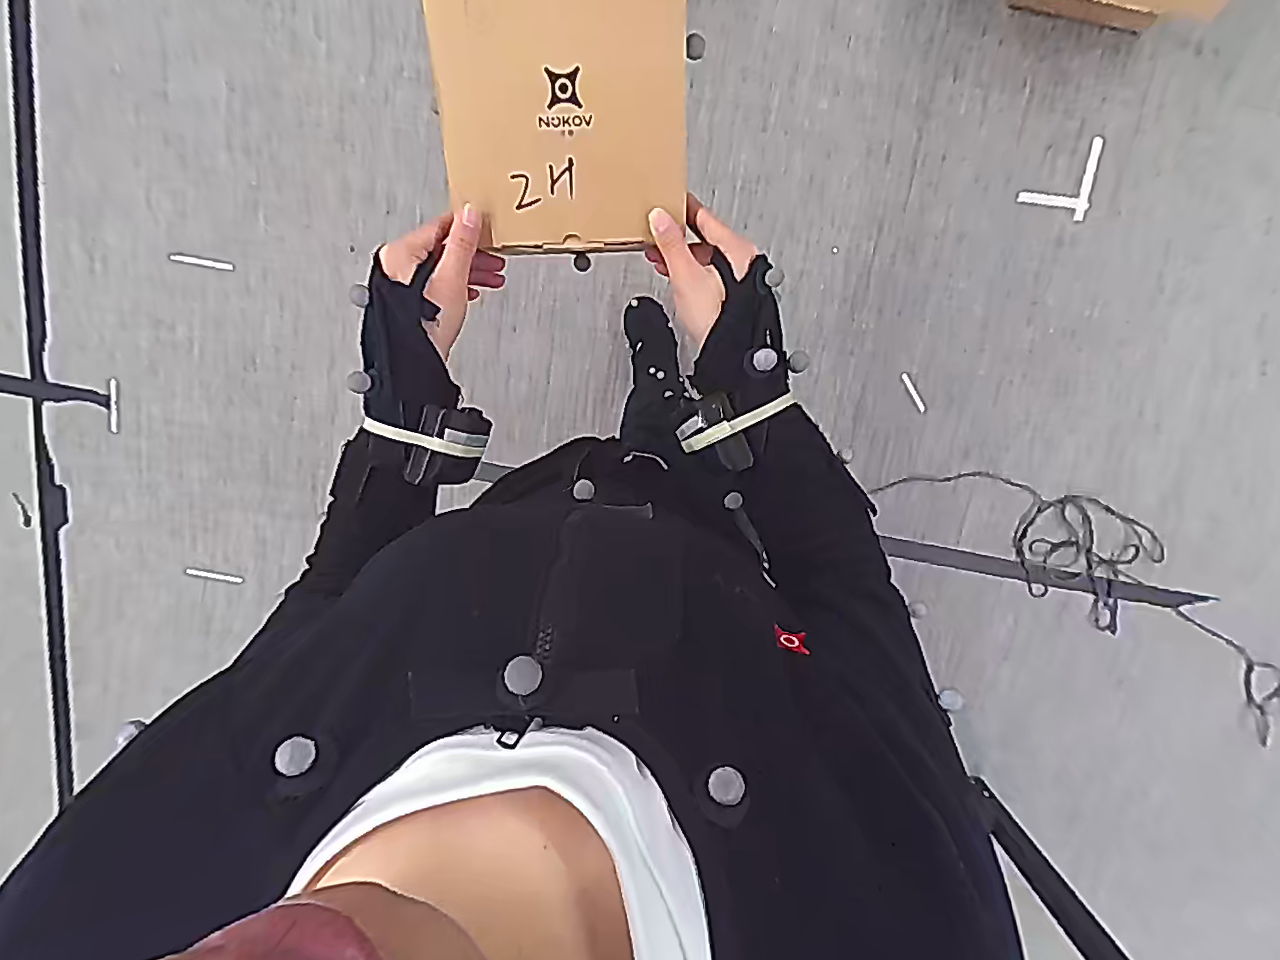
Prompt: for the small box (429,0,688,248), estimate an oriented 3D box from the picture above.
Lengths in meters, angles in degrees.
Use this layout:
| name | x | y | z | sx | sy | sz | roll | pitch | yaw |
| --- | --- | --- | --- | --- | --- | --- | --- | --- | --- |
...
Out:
| name | x | y | z | sx | sy | sz | roll | pitch | yaw |
| --- | --- | --- | --- | --- | --- | --- | --- | --- | --- |
| small box | -0.054 | -0.285 | 0.430 | 0.168 | 0.176 | 0.179 | -2 | 111 | -1 |
